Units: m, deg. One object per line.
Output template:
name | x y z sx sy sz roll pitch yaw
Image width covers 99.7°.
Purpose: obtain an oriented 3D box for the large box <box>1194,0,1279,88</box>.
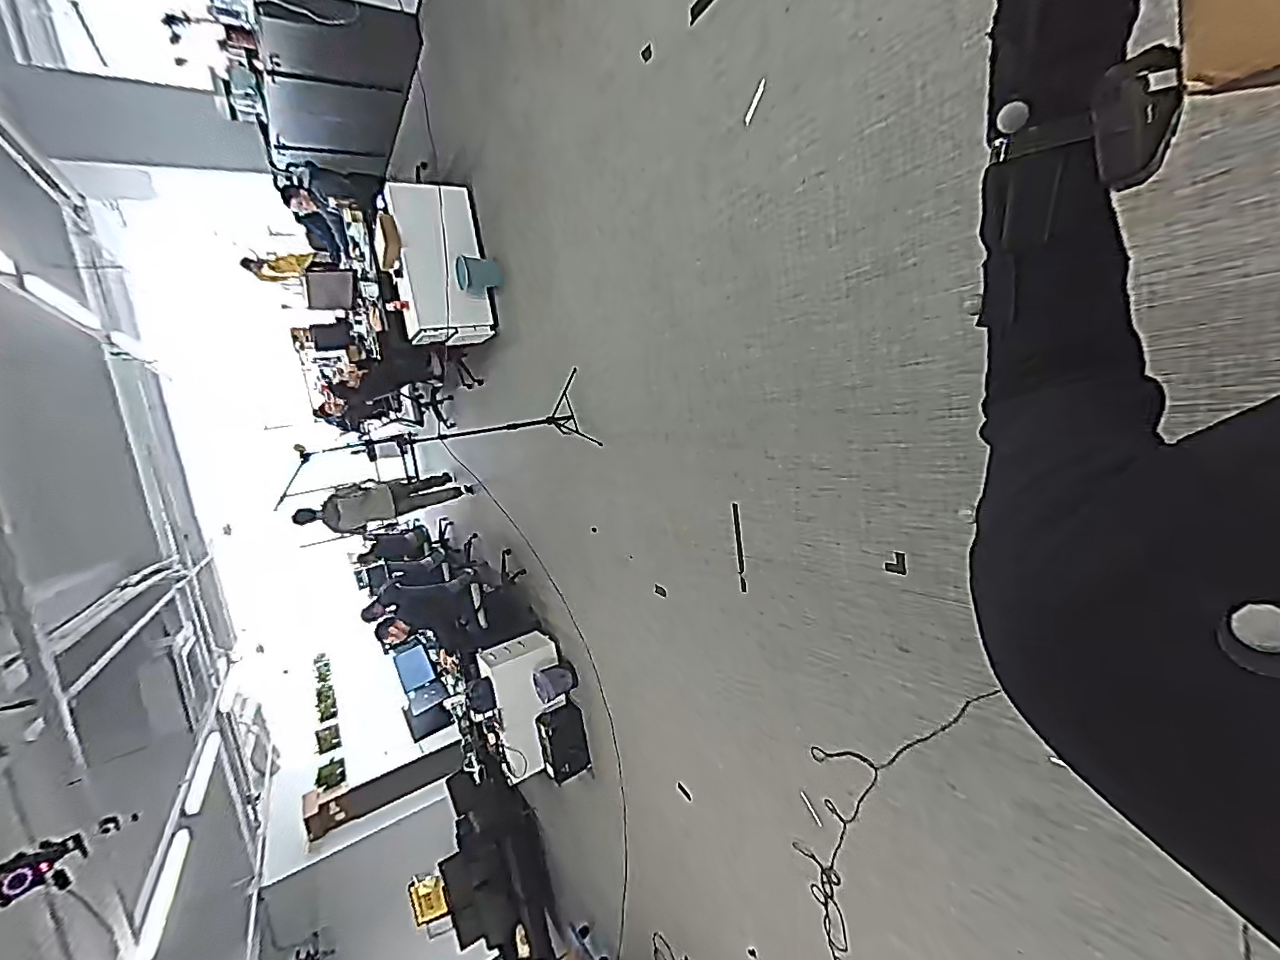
large box | 0.474 -0.393 0.160 0.408 0.320 0.320 5 117 57
